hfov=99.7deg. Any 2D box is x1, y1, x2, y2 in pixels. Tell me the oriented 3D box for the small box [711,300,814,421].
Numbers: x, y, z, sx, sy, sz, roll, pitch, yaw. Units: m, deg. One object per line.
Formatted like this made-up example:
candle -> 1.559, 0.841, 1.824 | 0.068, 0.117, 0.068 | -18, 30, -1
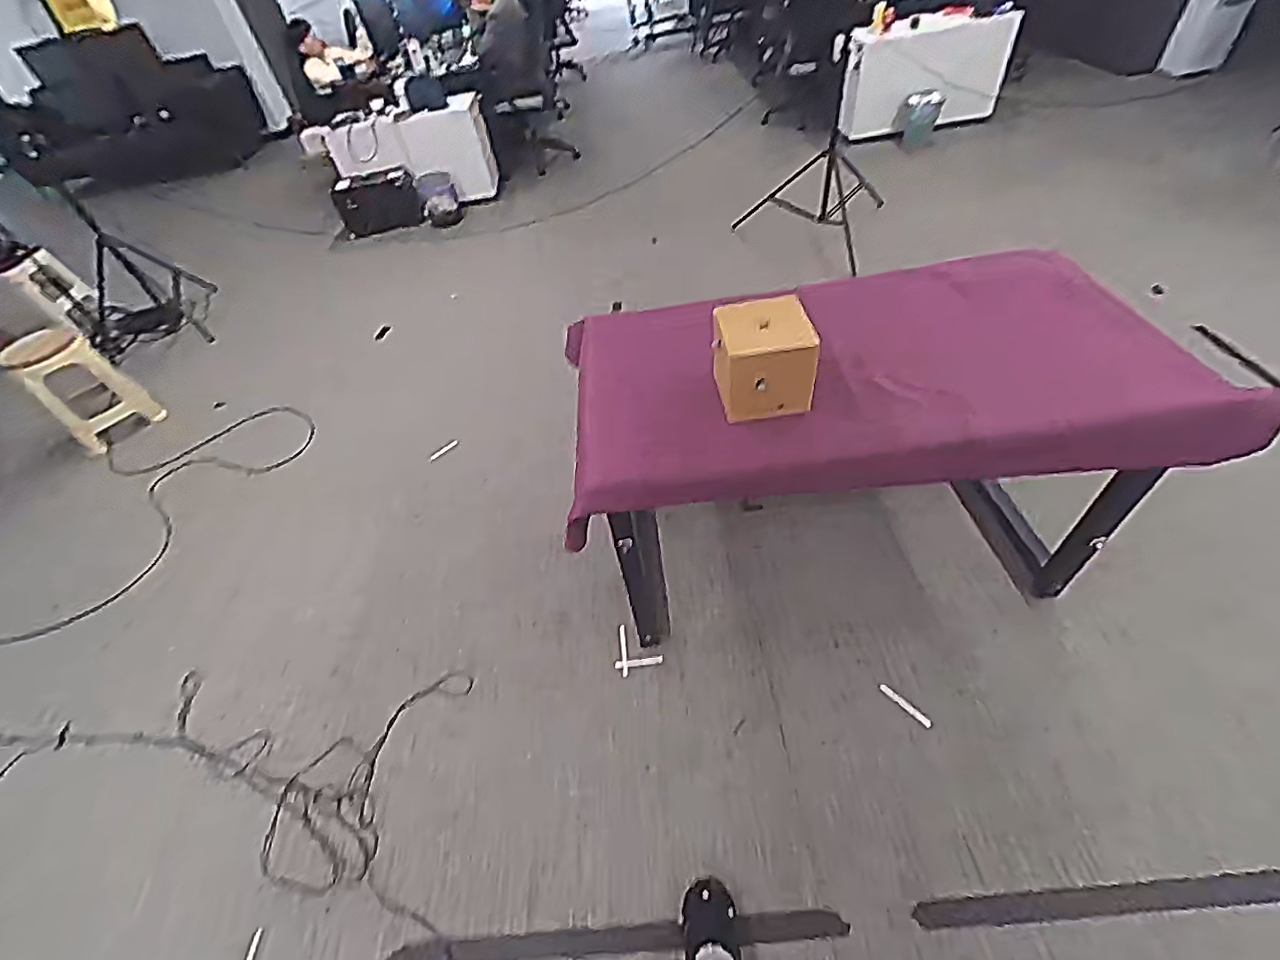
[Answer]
small box -> 0.241, -0.234, 1.091 | 0.168, 0.176, 0.179 | -8, 47, 2
